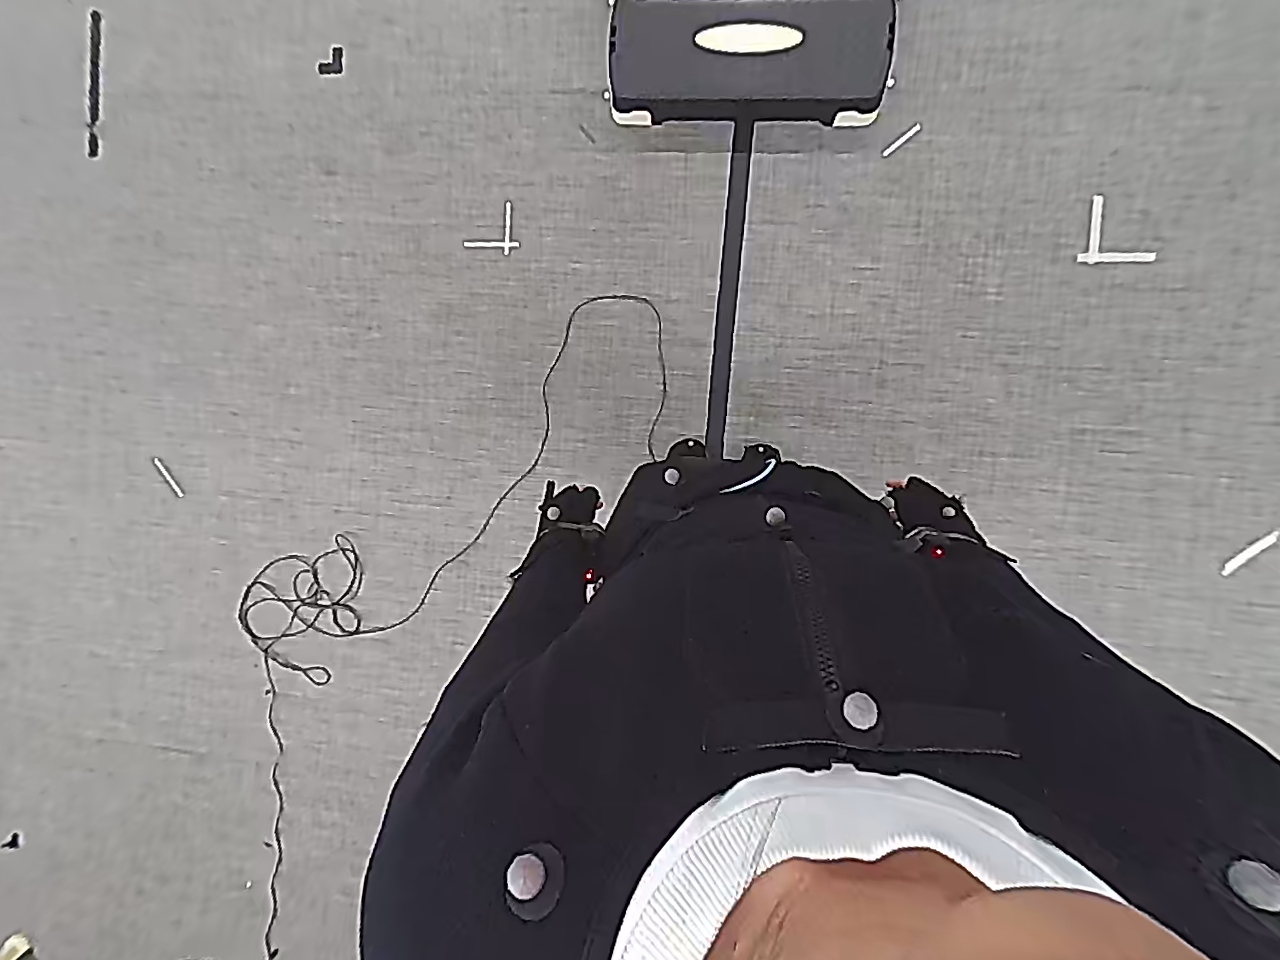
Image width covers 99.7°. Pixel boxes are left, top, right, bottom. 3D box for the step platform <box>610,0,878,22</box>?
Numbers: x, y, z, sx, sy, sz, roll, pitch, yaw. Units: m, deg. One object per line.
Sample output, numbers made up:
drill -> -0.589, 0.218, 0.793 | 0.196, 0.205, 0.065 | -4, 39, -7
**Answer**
step platform -> 0.250, -1.289, 1.249 | 0.684, 0.204, 0.286 | 3, 95, 5
